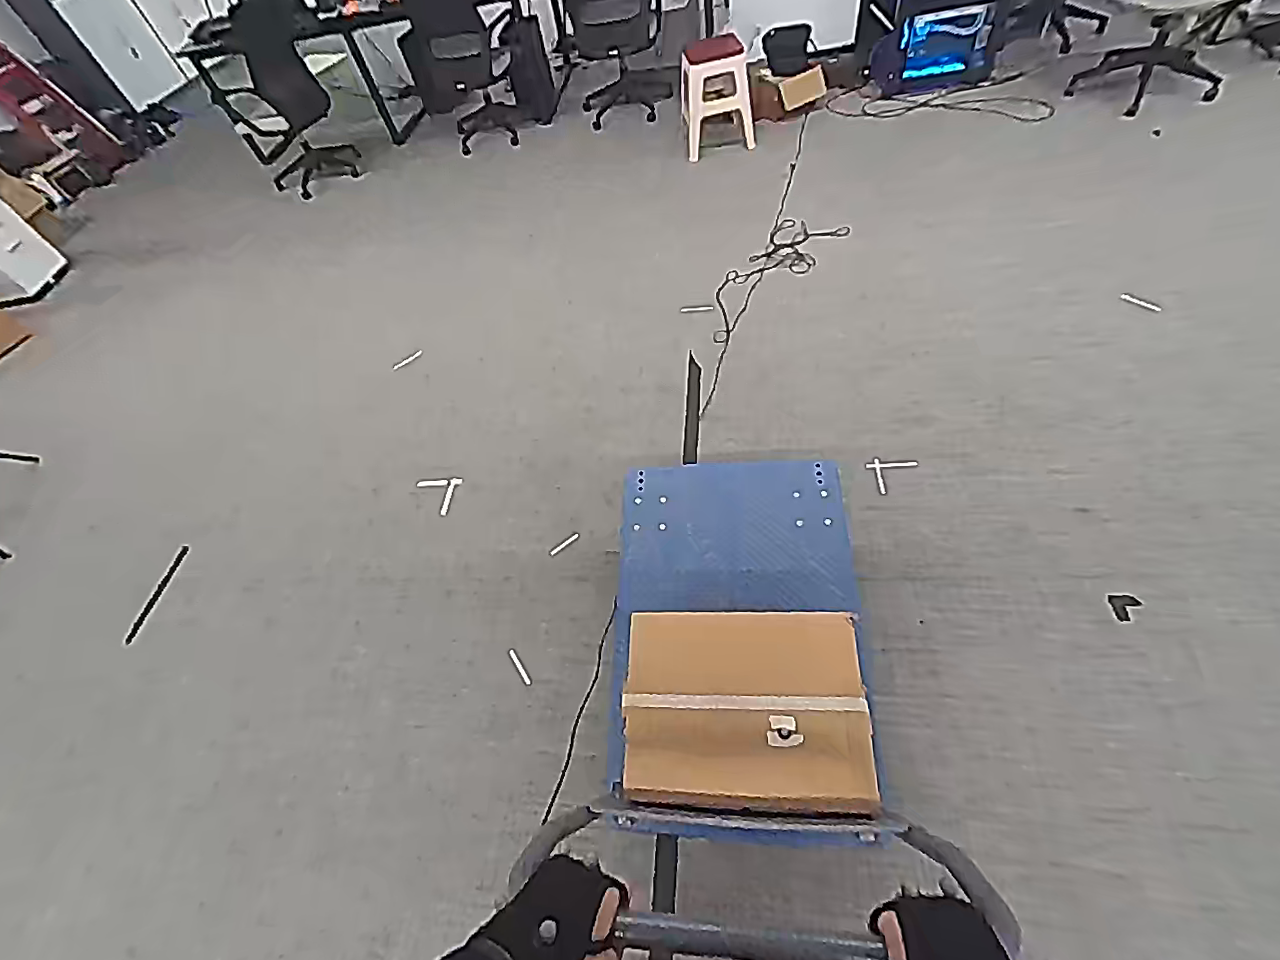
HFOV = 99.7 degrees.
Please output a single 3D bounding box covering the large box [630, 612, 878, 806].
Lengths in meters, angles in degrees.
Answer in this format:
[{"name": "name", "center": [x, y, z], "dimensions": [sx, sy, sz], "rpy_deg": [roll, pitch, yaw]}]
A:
[{"name": "large box", "center": [0.202, 0.459, 1.072], "dimensions": [0.408, 0.320, 0.320], "rpy_deg": [-3, 61, 8]}]
